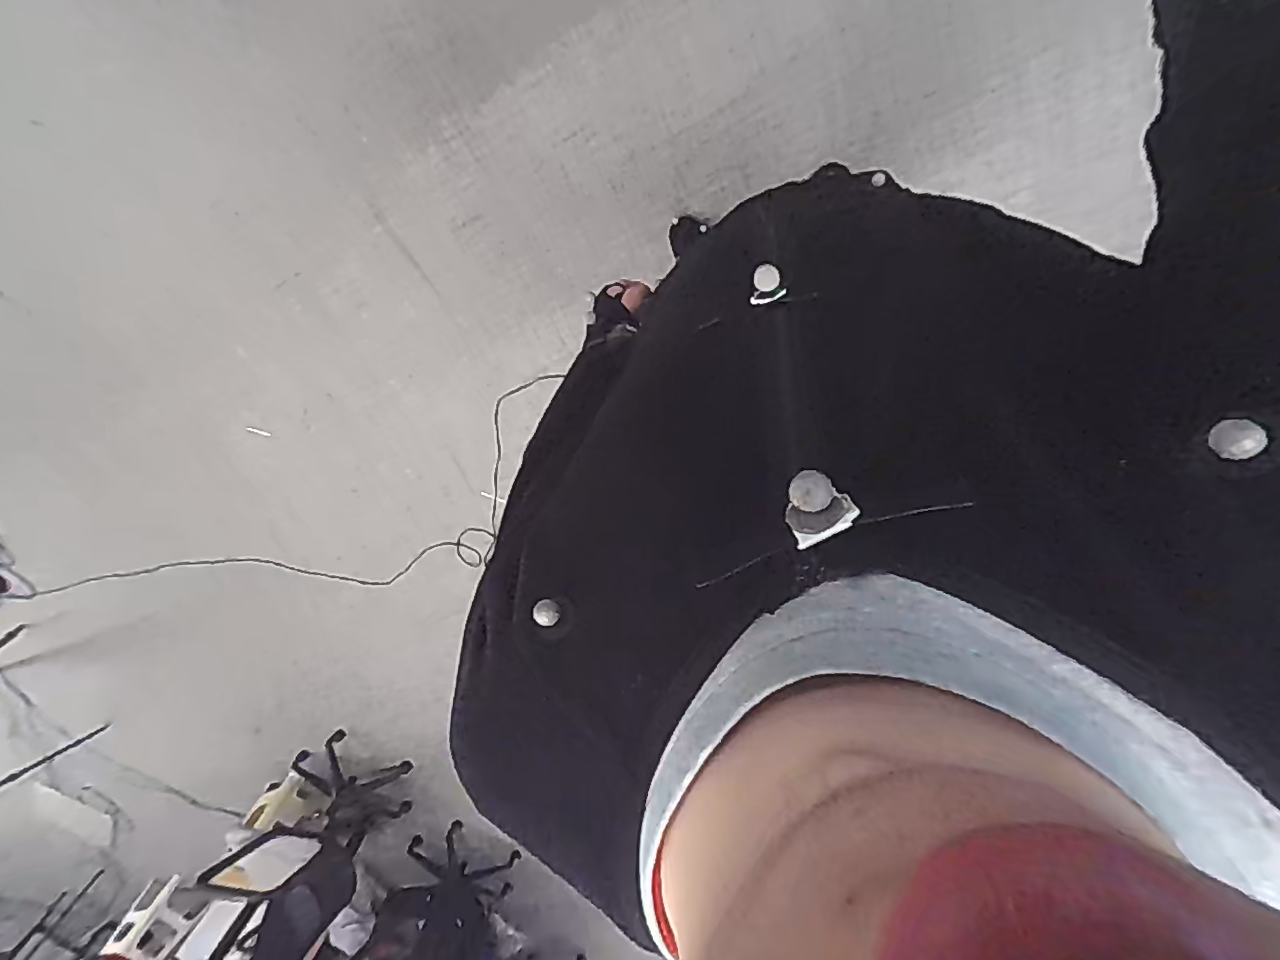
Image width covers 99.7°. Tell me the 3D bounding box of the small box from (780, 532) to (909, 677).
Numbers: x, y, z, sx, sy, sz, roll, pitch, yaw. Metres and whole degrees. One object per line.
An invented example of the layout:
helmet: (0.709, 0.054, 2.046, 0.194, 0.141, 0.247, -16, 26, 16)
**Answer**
small box: (0.372, 0.227, 1.002, 0.168, 0.176, 0.179, -22, 114, 20)
